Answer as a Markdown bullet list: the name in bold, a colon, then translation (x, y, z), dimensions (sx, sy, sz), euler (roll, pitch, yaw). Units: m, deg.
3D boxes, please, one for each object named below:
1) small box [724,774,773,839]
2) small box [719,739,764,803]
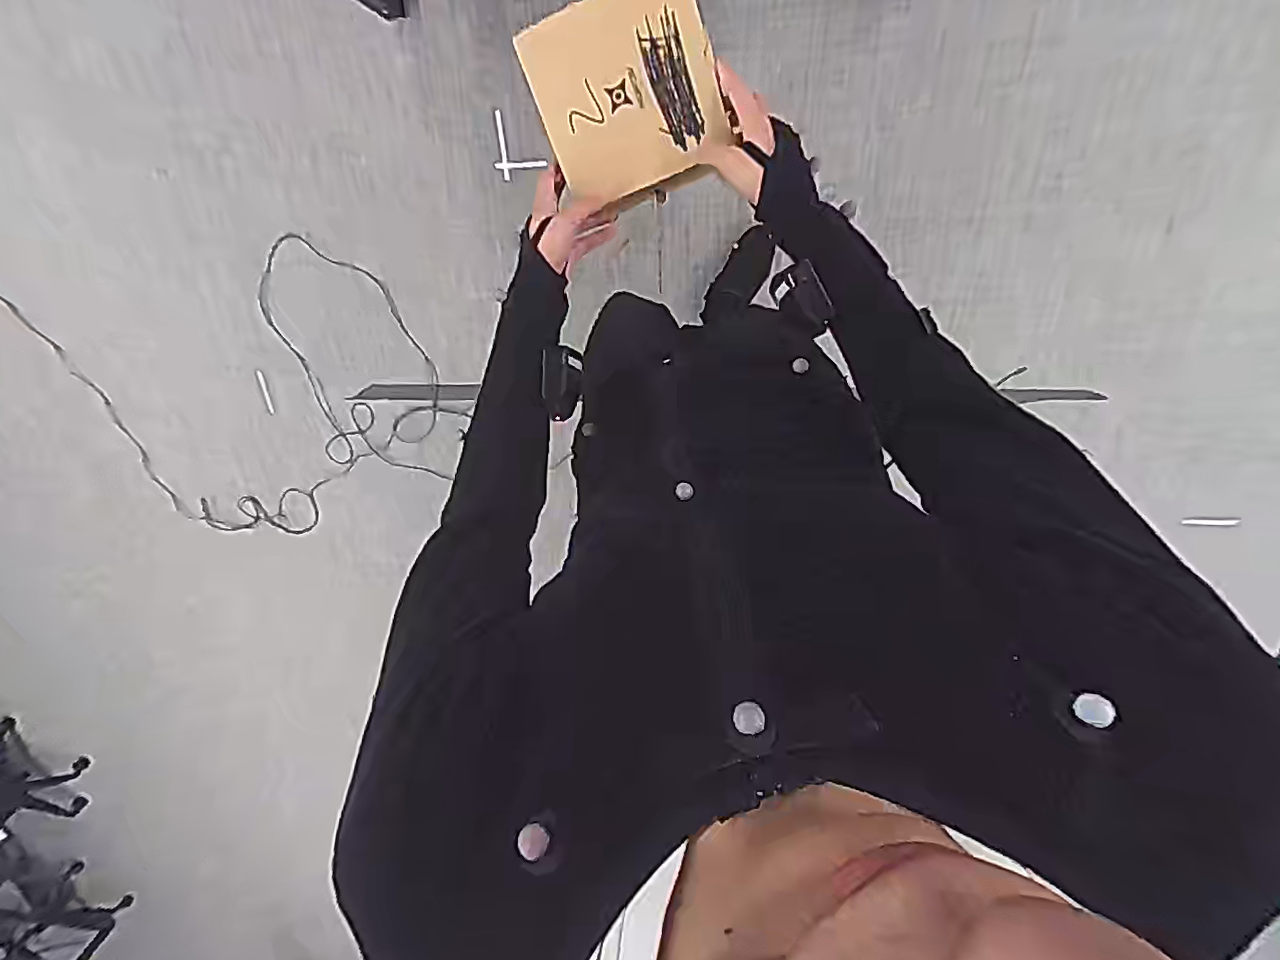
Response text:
- **small box**: translation (0.407, 1.241, 2.033), dimensions (0.168, 0.176, 0.179), euler (-4, 115, 6)
- **small box**: translation (0.411, 1.175, 2.182), dimensions (0.168, 0.176, 0.179), euler (-5, 115, 7)
